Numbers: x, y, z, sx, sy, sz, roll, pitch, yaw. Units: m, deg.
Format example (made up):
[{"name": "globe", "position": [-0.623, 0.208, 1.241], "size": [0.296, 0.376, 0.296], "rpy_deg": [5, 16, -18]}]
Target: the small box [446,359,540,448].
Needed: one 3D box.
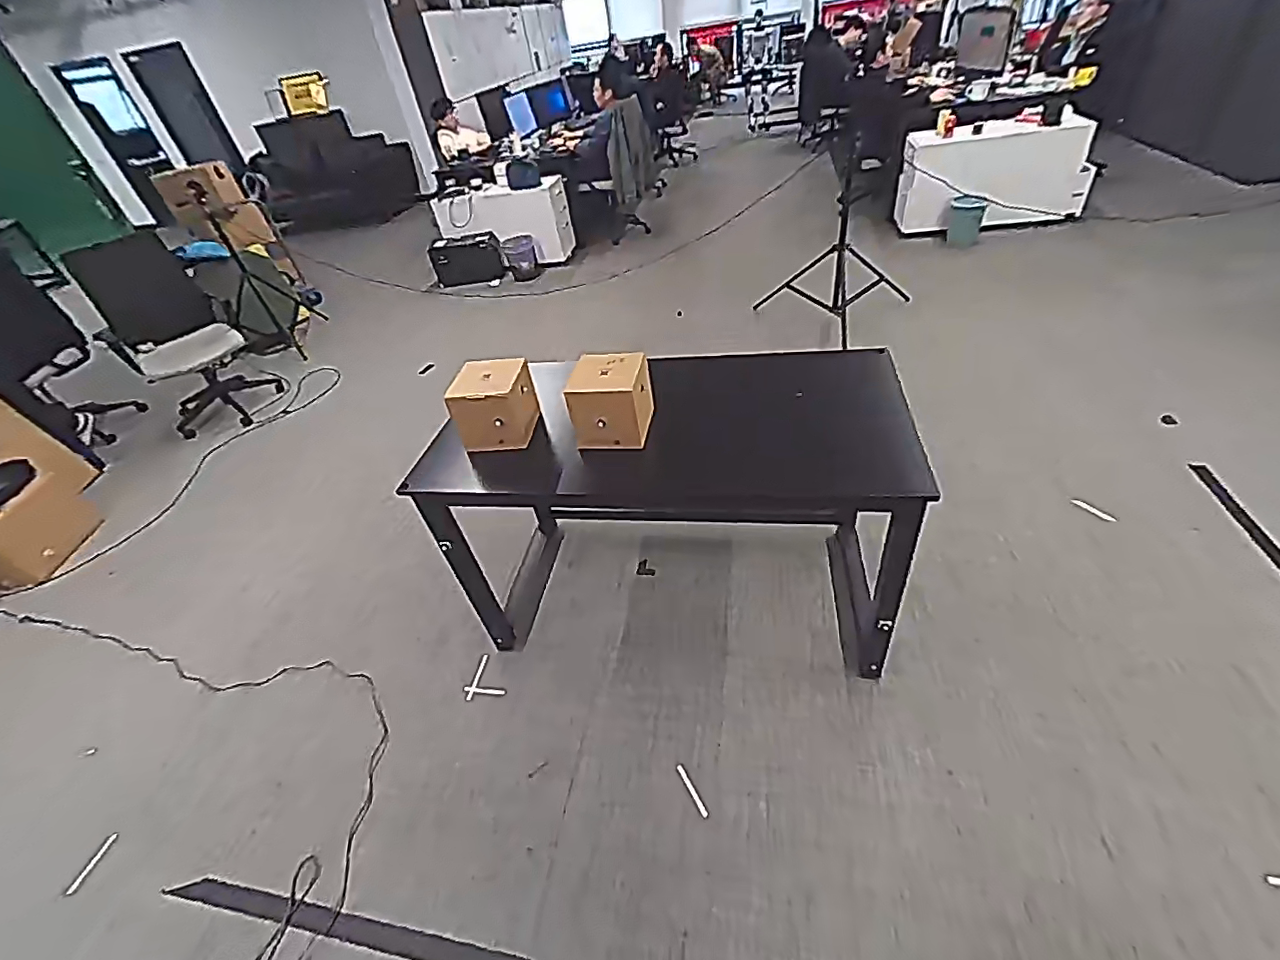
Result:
[{"name": "small box", "position": [-0.369, -0.192, 1.394], "size": [0.168, 0.176, 0.179], "rpy_deg": [-2, 40, 8]}]

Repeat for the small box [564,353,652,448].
[{"name": "small box", "position": [-0.068, -0.193, 1.328], "size": [0.168, 0.176, 0.179], "rpy_deg": [1, 42, 13]}]
